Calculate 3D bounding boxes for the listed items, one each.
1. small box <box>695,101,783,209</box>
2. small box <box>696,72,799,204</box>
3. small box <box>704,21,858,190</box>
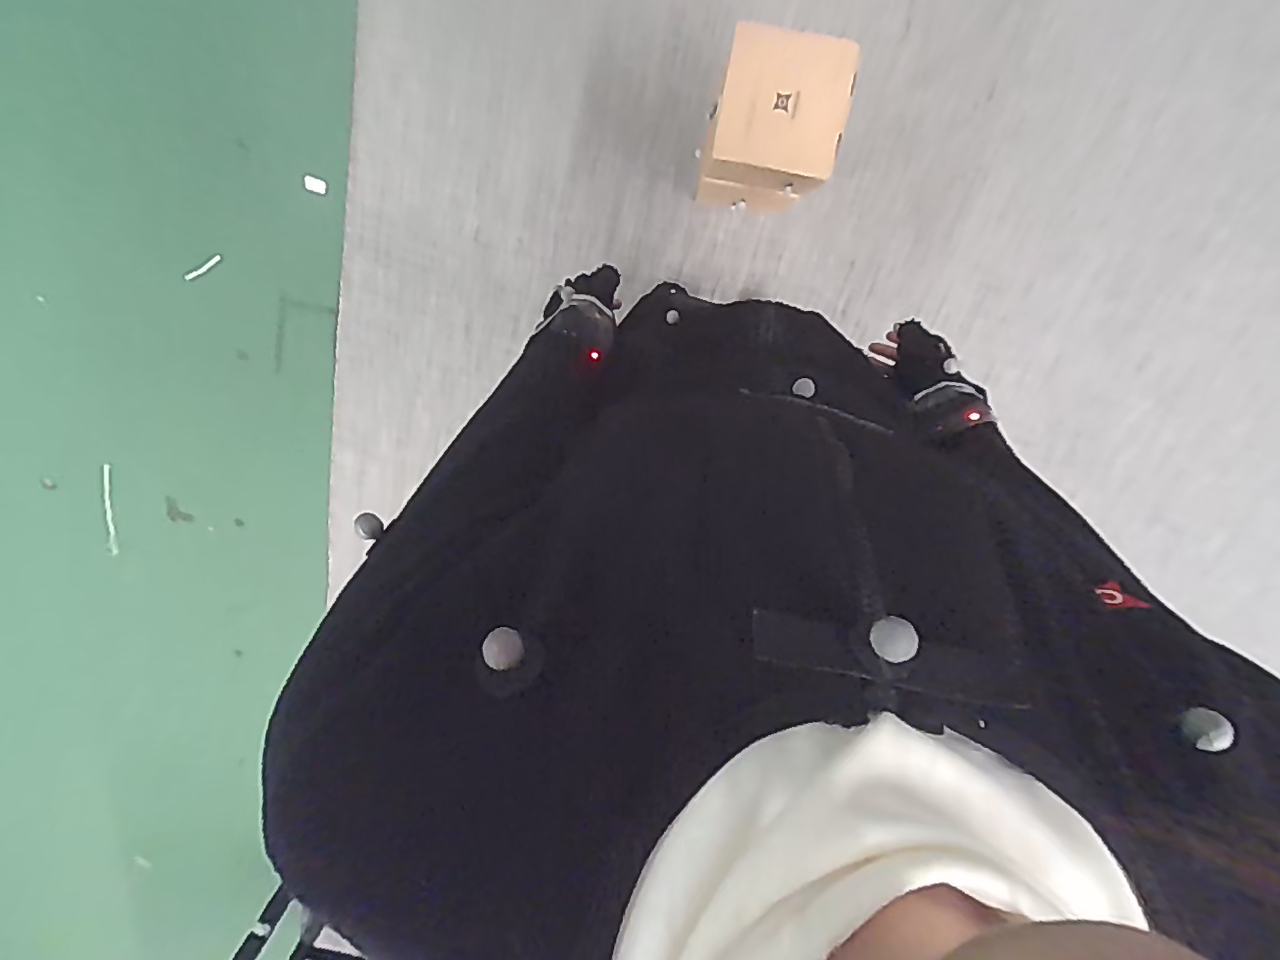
[{"bbox_3d":[0.215,-0.670,1.128,0.179,0.176,0.168,6,111,1],"label":"small box"},{"bbox_3d":[0.205,-0.608,0.978,0.179,0.176,0.168,10,111,-1],"label":"small box"},{"bbox_3d":[0.200,-0.553,0.825,0.179,0.176,0.168,10,110,1],"label":"small box"}]
